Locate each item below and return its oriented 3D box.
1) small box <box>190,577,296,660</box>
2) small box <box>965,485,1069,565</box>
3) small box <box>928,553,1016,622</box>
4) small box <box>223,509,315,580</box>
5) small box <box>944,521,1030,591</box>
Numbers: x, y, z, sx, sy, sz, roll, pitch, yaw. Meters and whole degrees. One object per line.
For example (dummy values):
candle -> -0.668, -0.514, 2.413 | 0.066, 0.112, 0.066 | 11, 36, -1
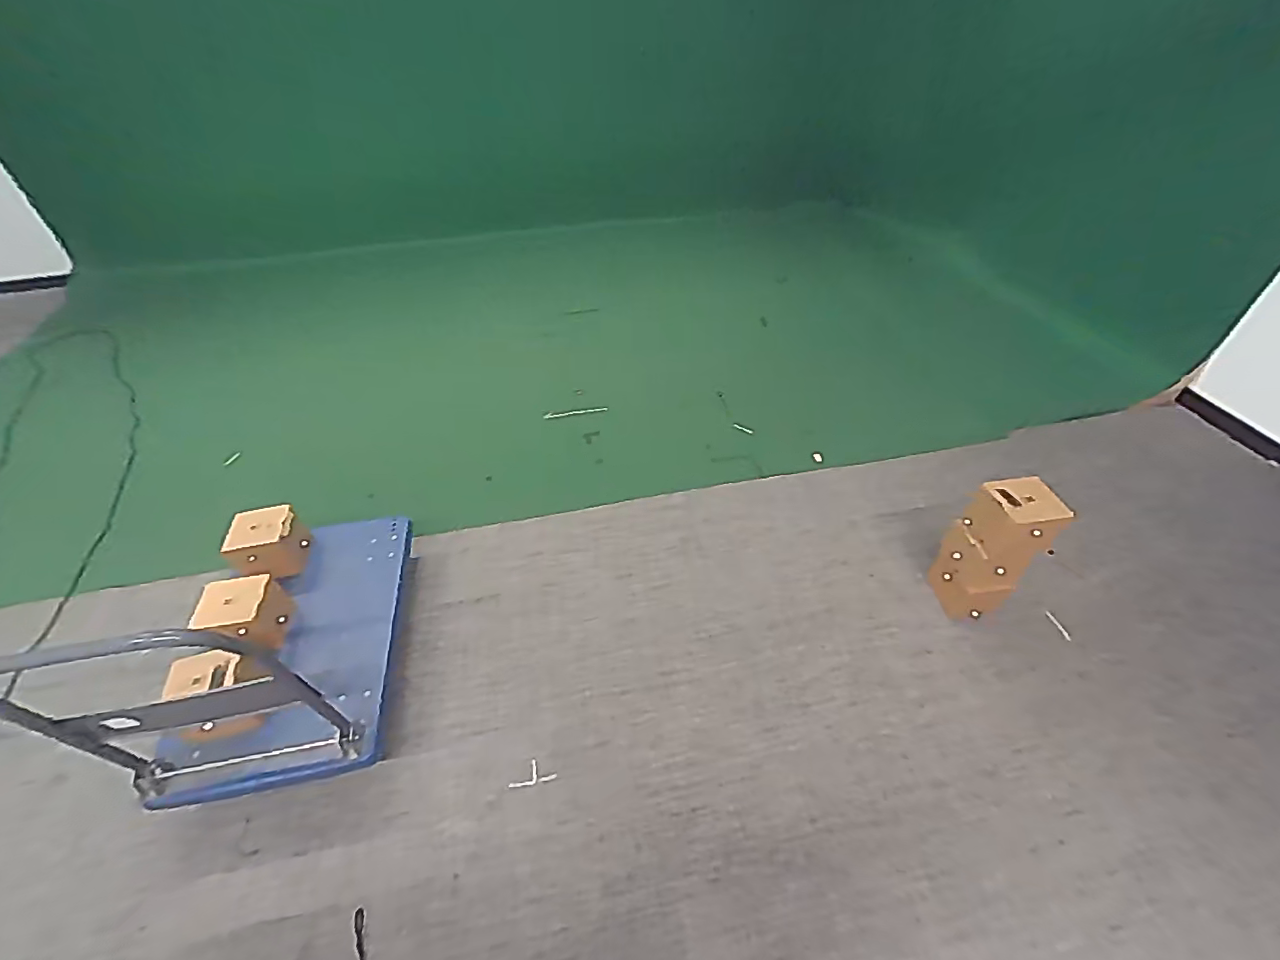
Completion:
small box -> -1.174, 0.418, 1.615 | 0.179, 0.176, 0.168 | -8, 44, -7
small box -> 1.106, 0.137, 1.611 | 0.179, 0.176, 0.168 | -7, 45, -4
small box -> 1.113, 0.358, 1.831 | 0.168, 0.176, 0.179 | -6, 44, -2
small box -> -1.232, 0.224, 1.809 | 0.179, 0.176, 0.168 | -9, 46, -7
small box -> 1.102, 0.238, 1.720 | 0.179, 0.176, 0.168 | -7, 44, -2
